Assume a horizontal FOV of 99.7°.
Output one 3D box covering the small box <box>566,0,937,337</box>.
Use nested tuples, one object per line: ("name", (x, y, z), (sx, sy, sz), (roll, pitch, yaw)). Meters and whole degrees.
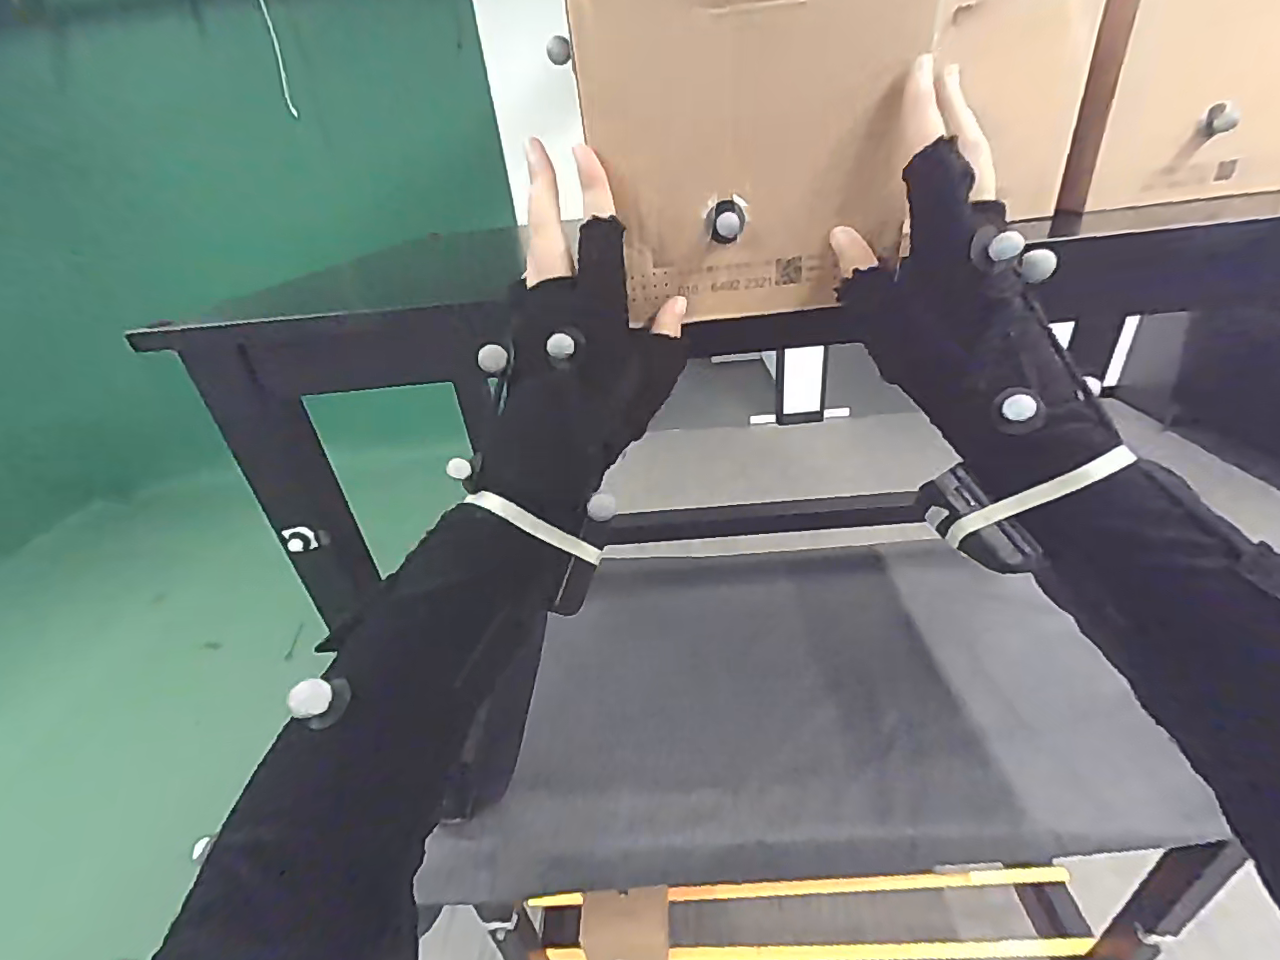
("small box", (0.054, -0.206, 0.344), (0.168, 0.176, 0.179), (-6, 38, 3))
